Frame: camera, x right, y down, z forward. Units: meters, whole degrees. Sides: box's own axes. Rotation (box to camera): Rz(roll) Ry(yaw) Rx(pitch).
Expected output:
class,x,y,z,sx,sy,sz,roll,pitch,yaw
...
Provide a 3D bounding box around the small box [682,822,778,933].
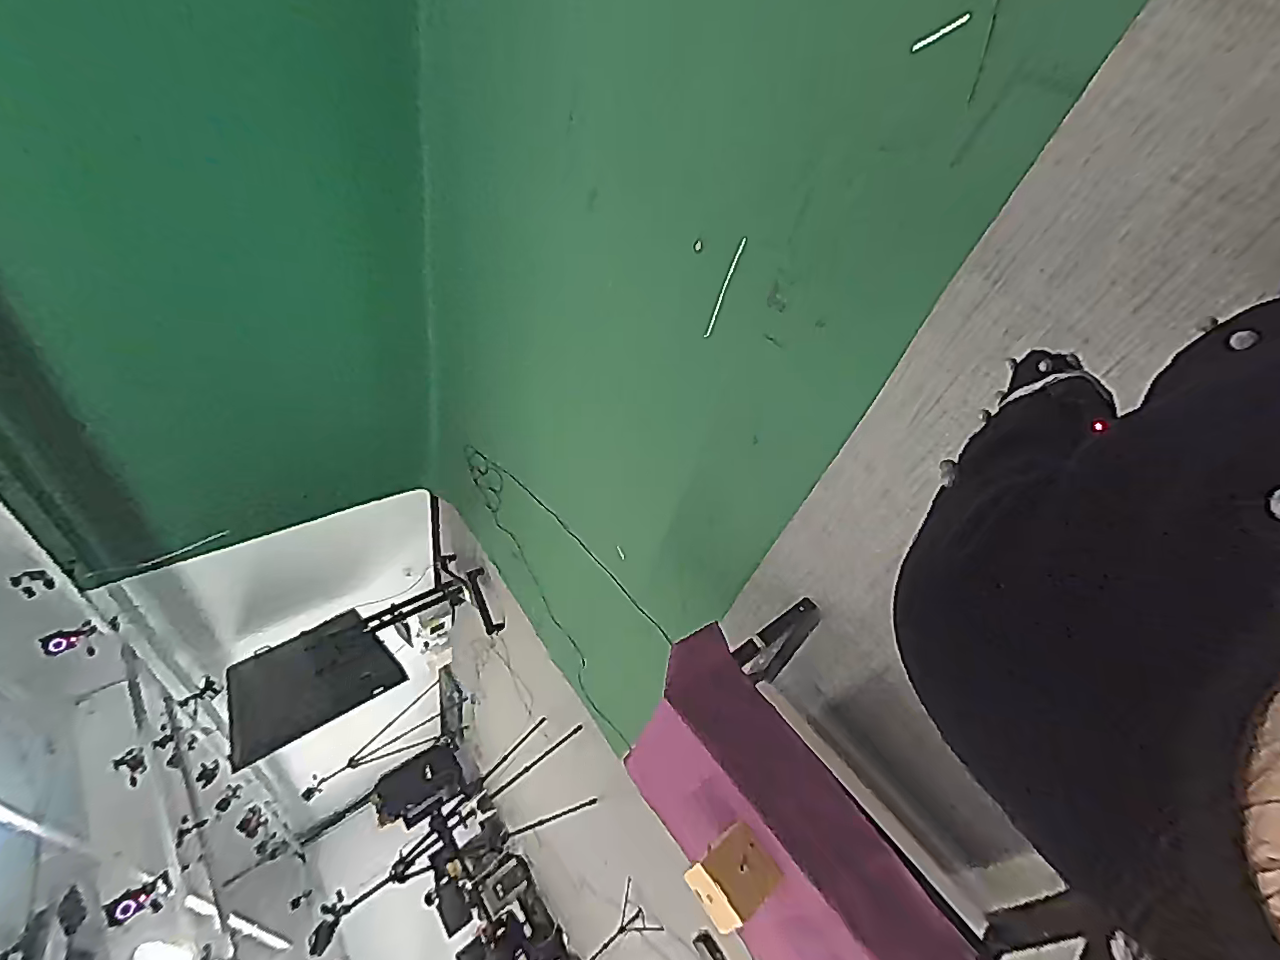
class,x,y,z,sx,sy,sz,roll,pitch,yaw
small box,0.248,1.078,1.474,0.168,0.176,0.179,46,139,28
